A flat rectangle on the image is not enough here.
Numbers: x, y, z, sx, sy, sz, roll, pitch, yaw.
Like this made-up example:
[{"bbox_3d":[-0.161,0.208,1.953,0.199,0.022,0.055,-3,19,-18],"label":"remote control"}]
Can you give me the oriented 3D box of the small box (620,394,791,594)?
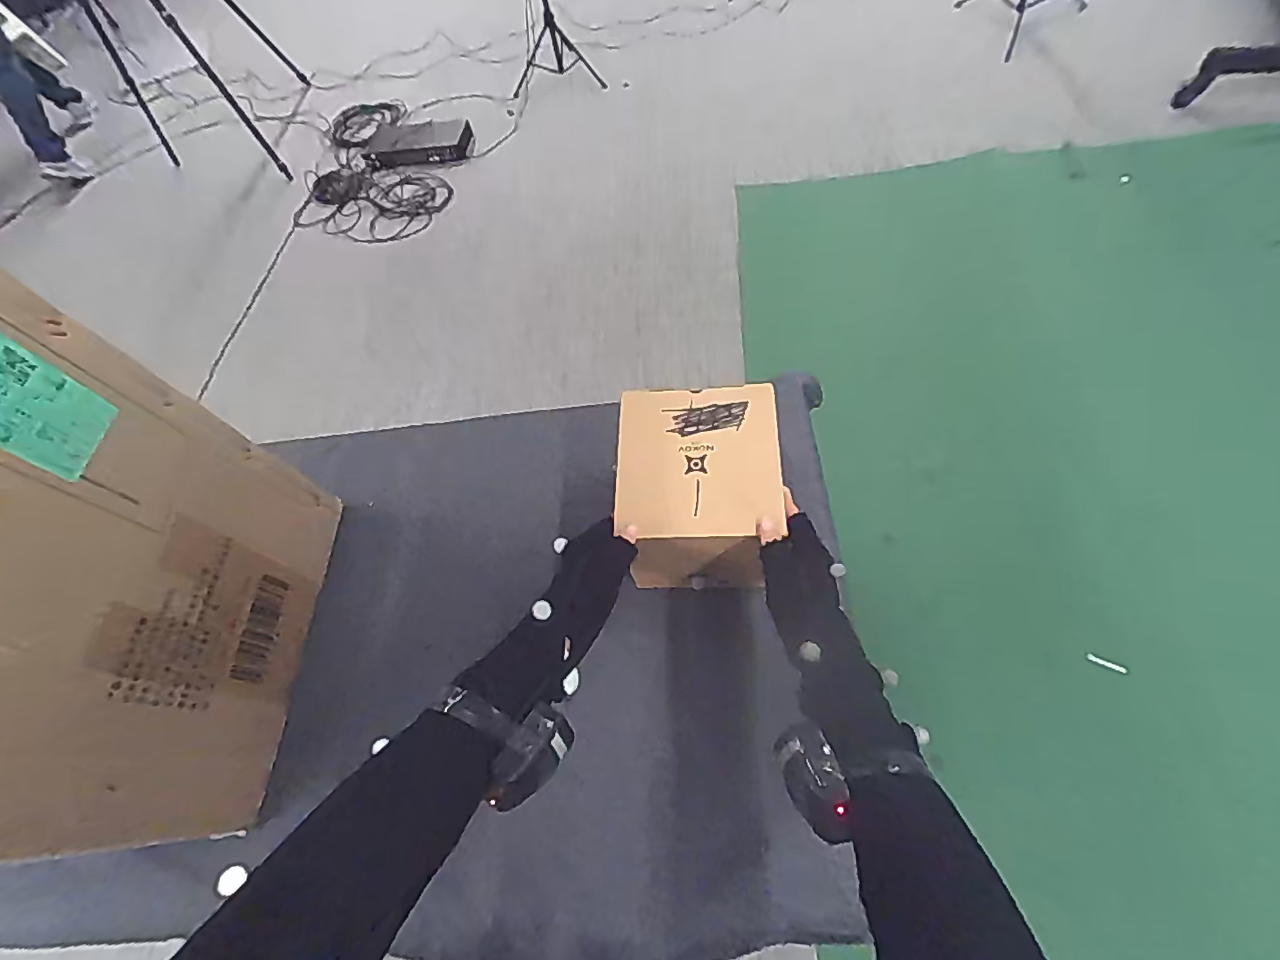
[{"bbox_3d":[0.075,0.022,0.623,0.168,0.176,0.179,-2,62,8],"label":"small box"}]
